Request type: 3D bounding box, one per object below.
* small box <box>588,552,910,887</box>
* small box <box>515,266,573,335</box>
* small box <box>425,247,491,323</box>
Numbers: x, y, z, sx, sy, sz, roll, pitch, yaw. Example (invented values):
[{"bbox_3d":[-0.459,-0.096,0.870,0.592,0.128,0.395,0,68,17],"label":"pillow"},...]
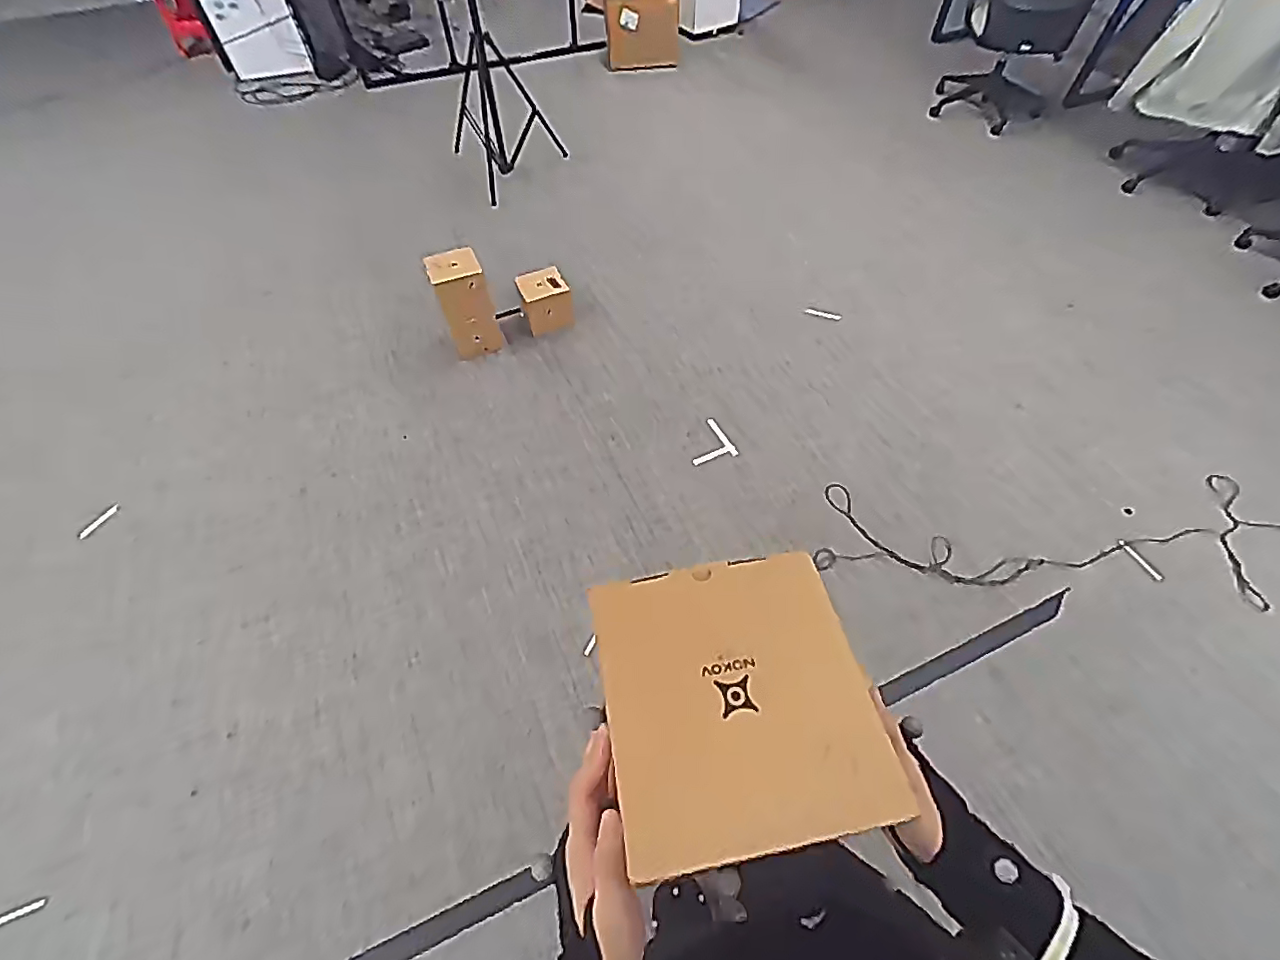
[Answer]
[{"bbox_3d":[0.059,0.181,0.405,0.168,0.176,0.179,-9,52,-6],"label":"small box"},{"bbox_3d":[-0.371,-0.703,2.128,0.179,0.176,0.168,-22,59,-12],"label":"small box"},{"bbox_3d":[-0.640,-0.692,1.923,0.179,0.176,0.168,-21,57,-13],"label":"small box"}]
